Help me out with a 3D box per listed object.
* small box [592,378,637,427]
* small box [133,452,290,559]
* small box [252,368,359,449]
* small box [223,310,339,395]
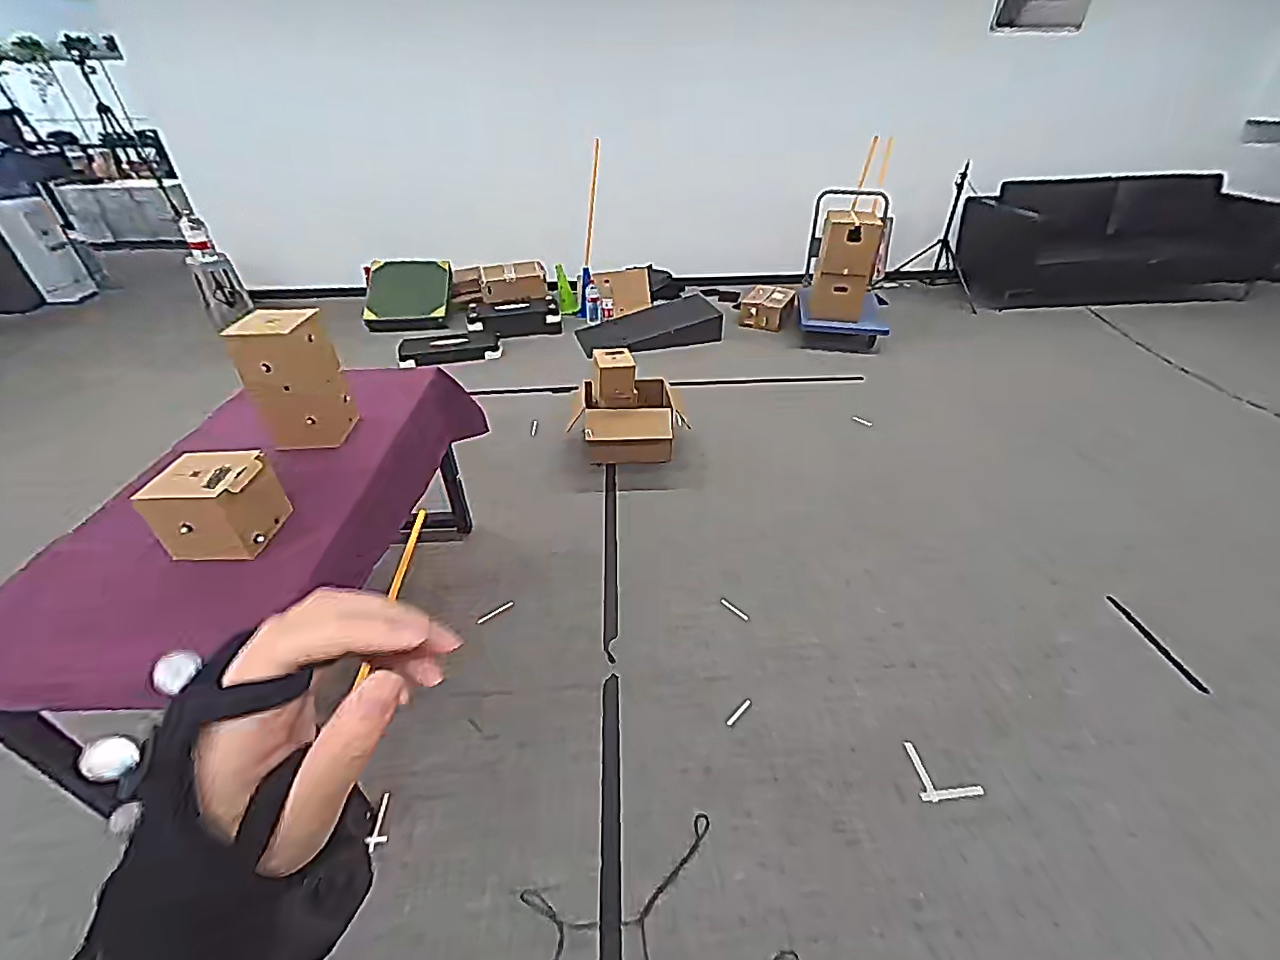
[{"bbox_3d":[-0.127,-0.377,2.639,0.179,0.176,0.168,-13,42,-21],"label":"small box"},{"bbox_3d":[-0.900,0.055,1.161,0.179,0.176,0.168,-1,36,1],"label":"small box"},{"bbox_3d":[-0.914,-0.197,1.501,0.179,0.176,0.168,-3,36,-2],"label":"small box"},{"bbox_3d":[-0.917,-0.329,1.404,0.168,0.176,0.179,-1,36,-2],"label":"small box"}]
